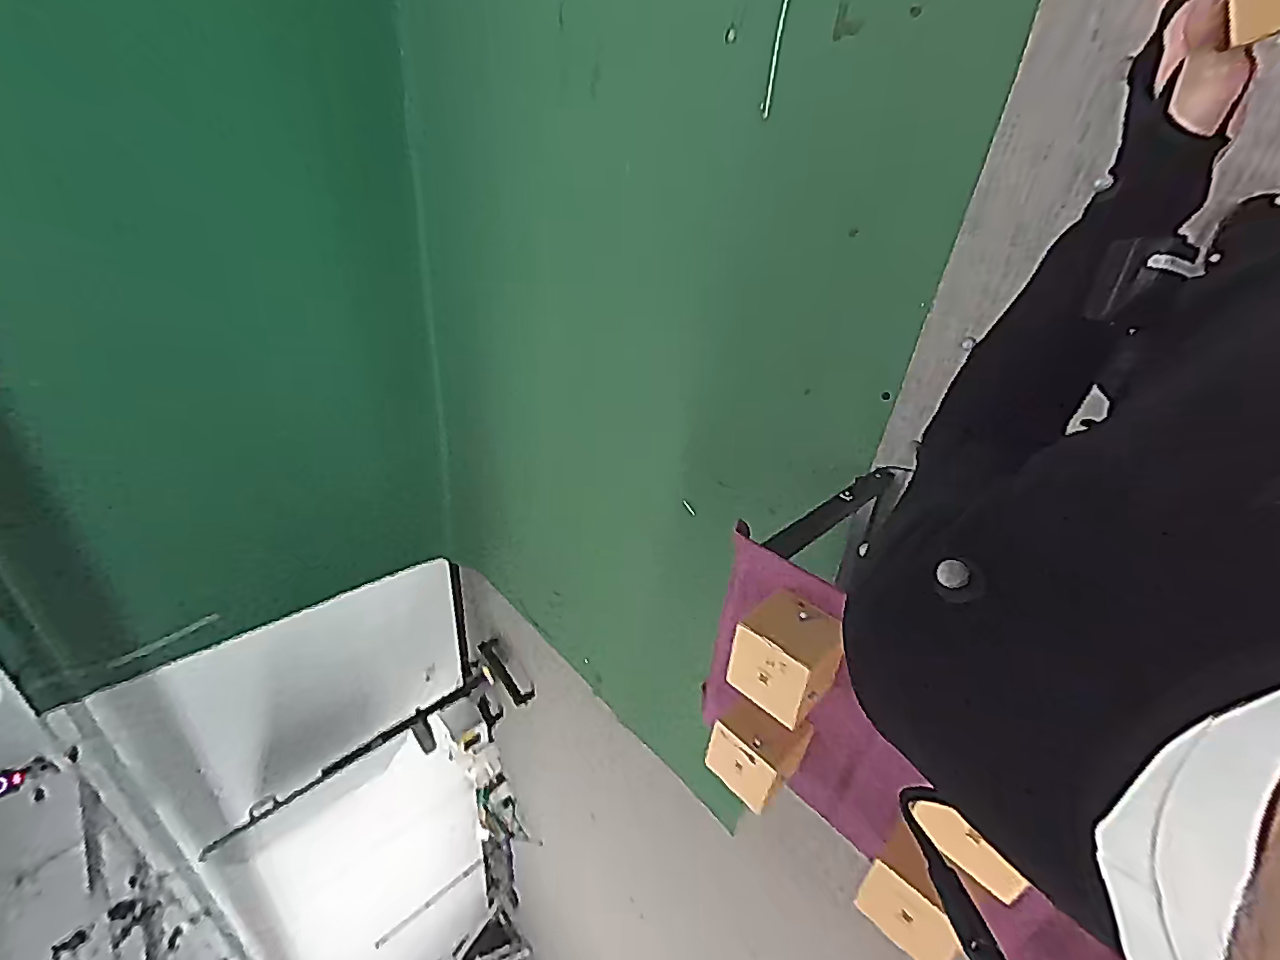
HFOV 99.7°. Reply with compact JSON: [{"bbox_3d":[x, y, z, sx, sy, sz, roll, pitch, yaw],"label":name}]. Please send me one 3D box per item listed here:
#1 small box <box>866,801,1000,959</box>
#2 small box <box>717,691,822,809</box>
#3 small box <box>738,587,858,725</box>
[{"bbox_3d":[0.577,0.783,1.055,0.168,0.176,0.179,29,127,37],"label":"small box"},{"bbox_3d":[0.310,0.626,1.291,0.168,0.176,0.179,31,129,36],"label":"small box"},{"bbox_3d":[0.330,0.360,1.133,0.168,0.176,0.179,29,127,37],"label":"small box"}]
